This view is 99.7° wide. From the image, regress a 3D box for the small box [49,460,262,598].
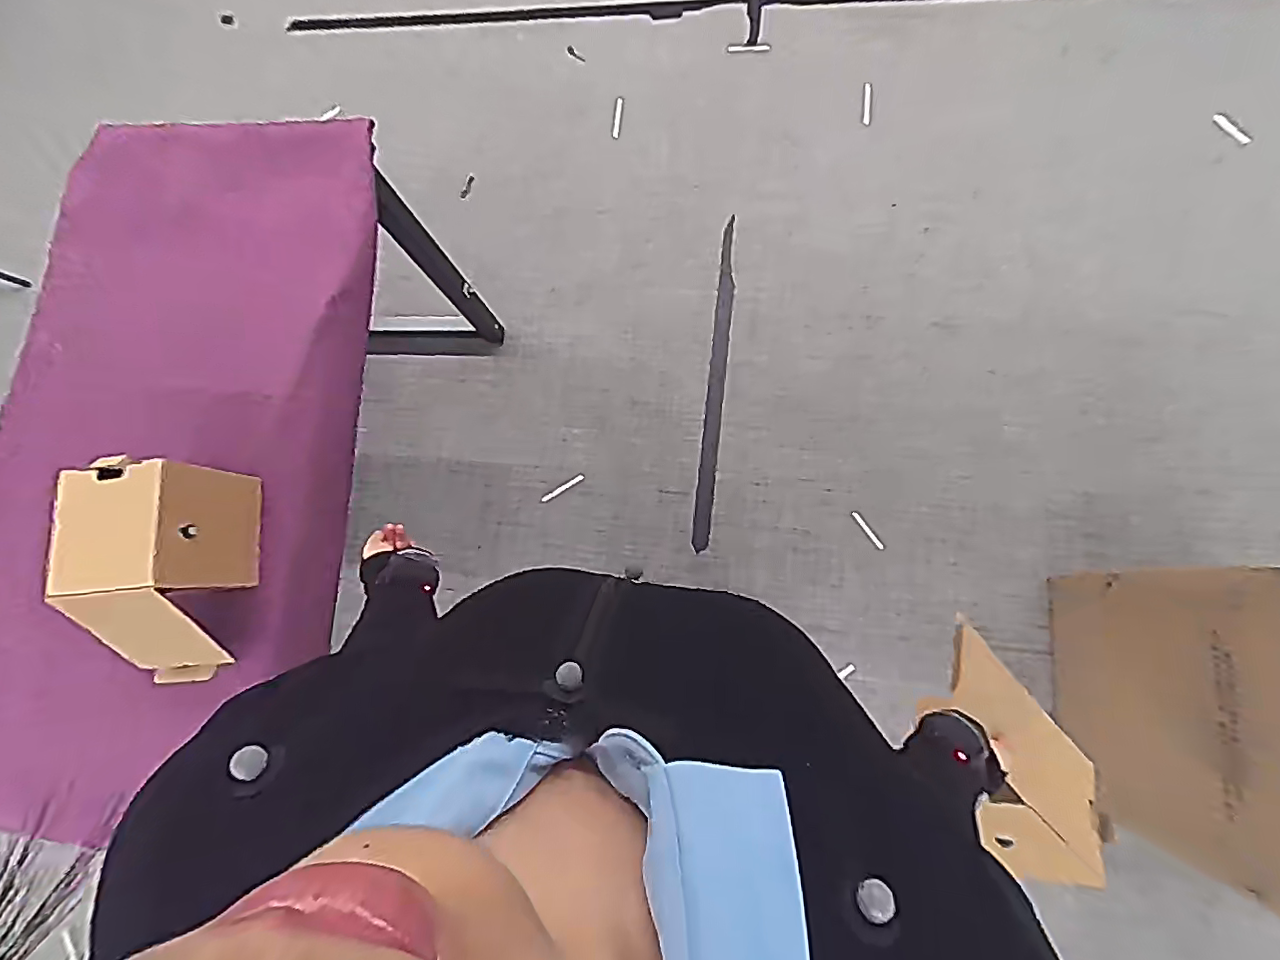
[{"bbox_3d":[-0.703,0.078,0.804,0.168,0.176,0.179,-6,79,6],"label":"small box"}]
